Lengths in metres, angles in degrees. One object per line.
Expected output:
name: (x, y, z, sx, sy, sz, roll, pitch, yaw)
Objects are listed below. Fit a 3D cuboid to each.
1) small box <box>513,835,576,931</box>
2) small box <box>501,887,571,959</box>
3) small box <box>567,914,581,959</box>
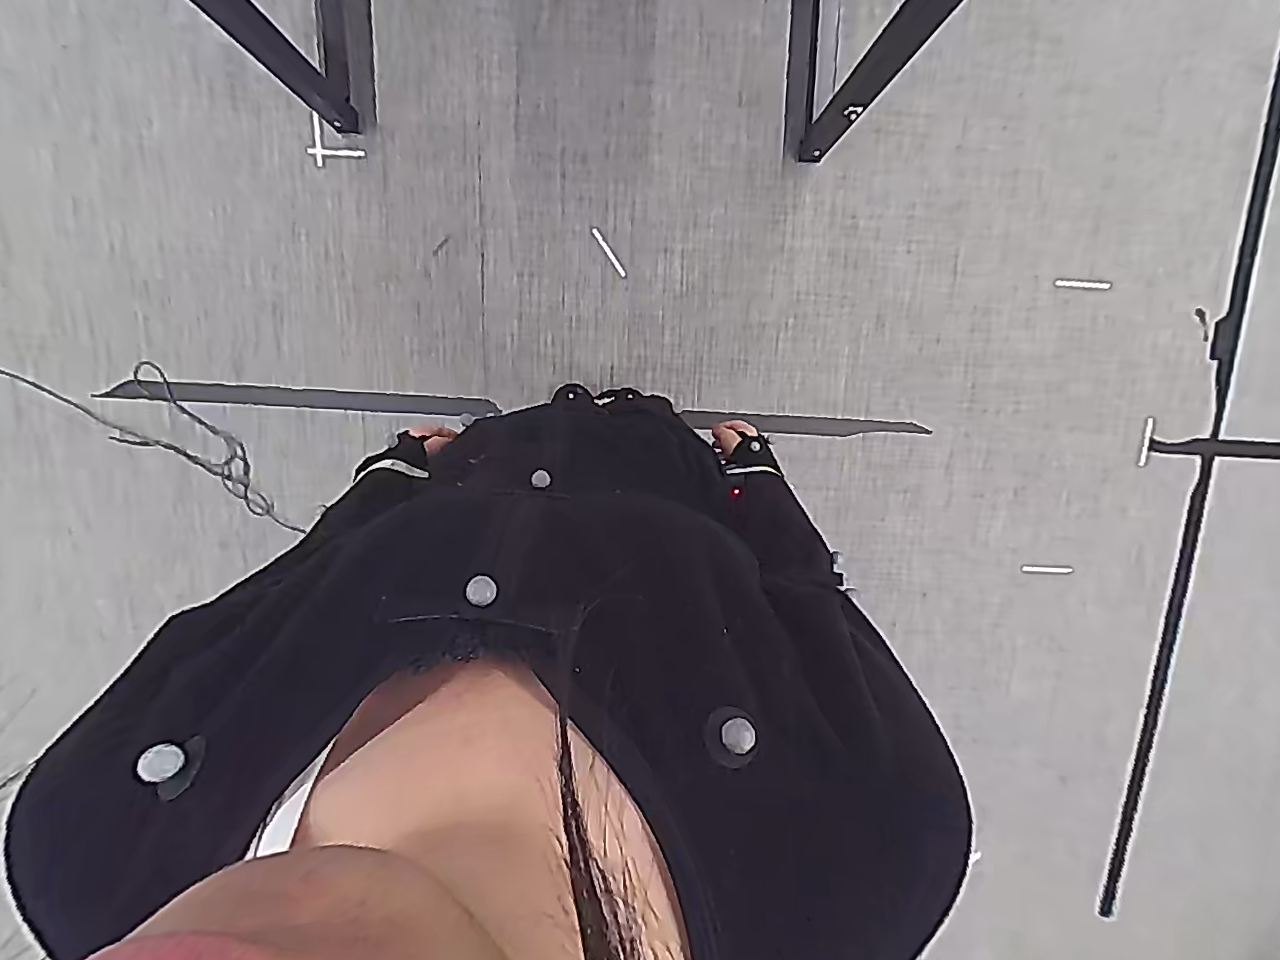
small box: (-0.280, 1.188, 1.603, 0.168, 0.176, 0.179, 0, 101, -2)
small box: (-0.276, 1.229, 1.443, 0.168, 0.176, 0.179, 3, 101, -3)
small box: (-0.273, 1.465, 1.652, 0.168, 0.176, 0.179, -5, 100, -2)
